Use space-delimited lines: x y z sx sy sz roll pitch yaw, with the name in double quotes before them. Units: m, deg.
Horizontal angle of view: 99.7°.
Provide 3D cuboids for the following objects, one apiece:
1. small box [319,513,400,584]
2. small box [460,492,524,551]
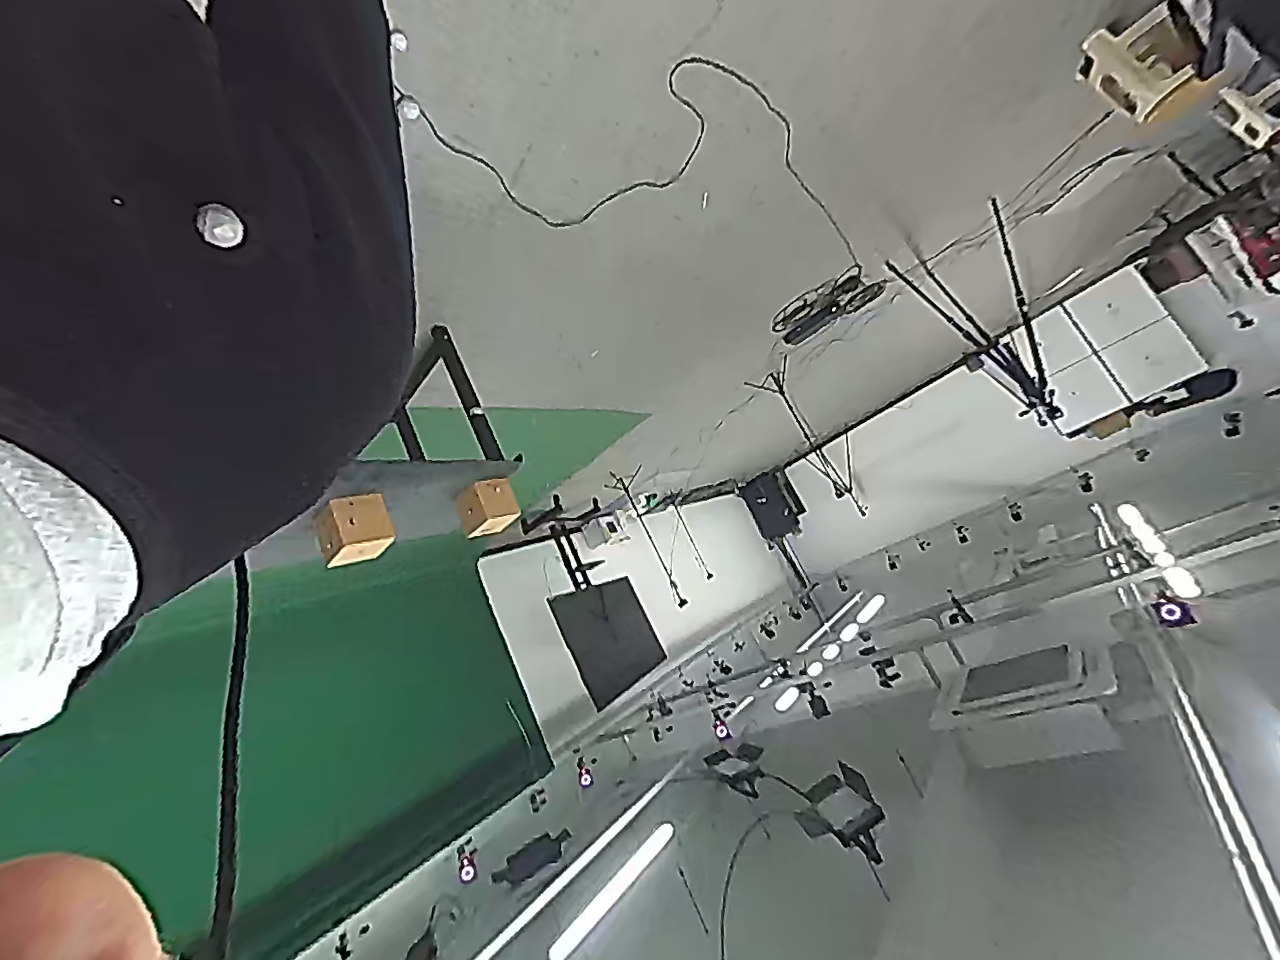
"small box" -0.923 0.216 1.768 0.179 0.176 0.168 -35 163 36
"small box" -0.603 0.164 2.178 0.179 0.176 0.168 -37 163 35
